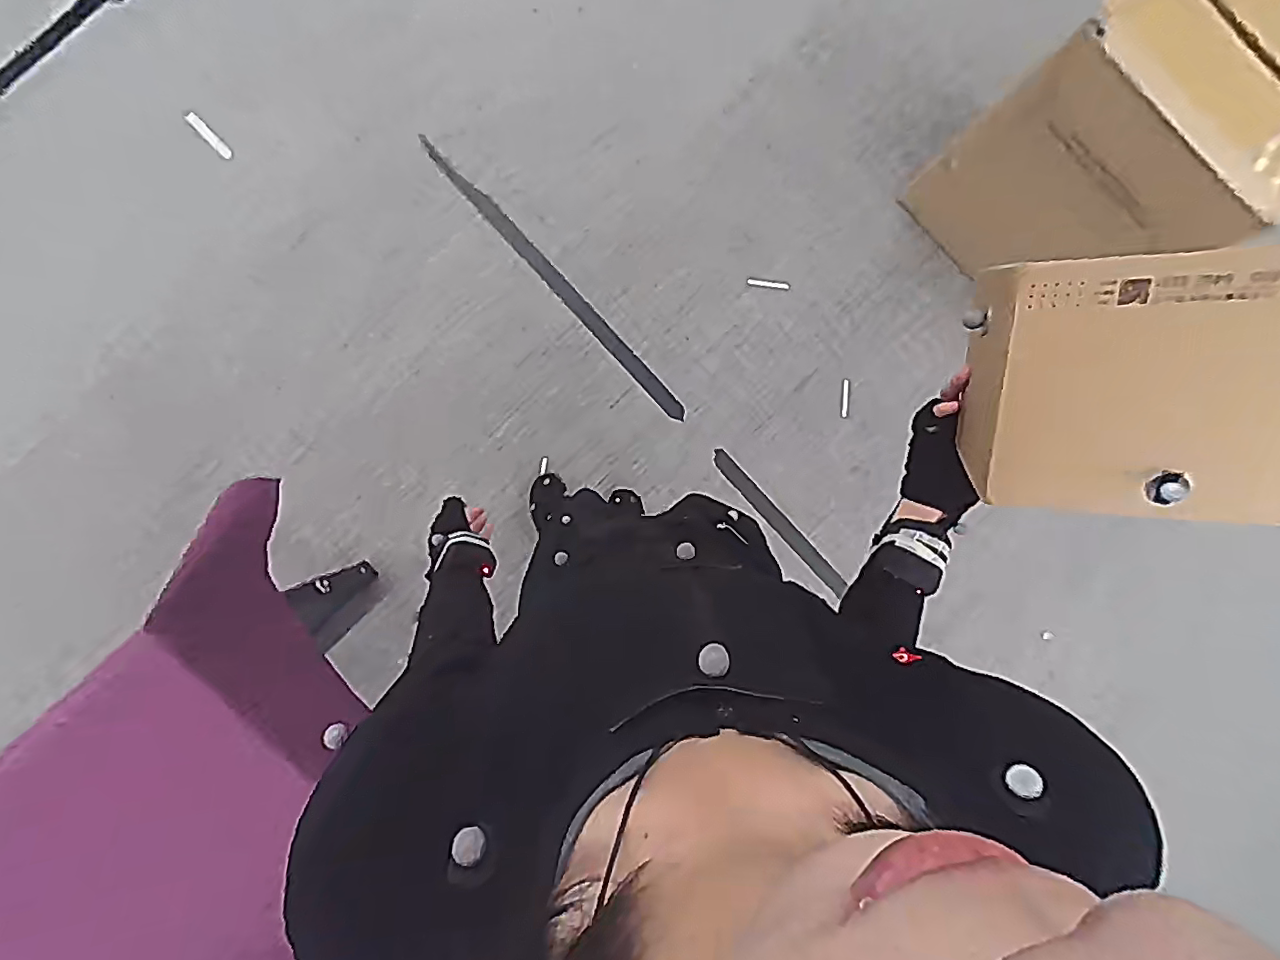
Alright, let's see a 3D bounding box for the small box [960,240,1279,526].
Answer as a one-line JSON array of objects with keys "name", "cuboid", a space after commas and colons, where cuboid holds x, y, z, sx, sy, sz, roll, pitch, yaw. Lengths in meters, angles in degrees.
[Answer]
[{"name": "small box", "cuboid": [0.356, -0.084, 0.406, 0.168, 0.179, 0.176, 5, 110, 23]}]
